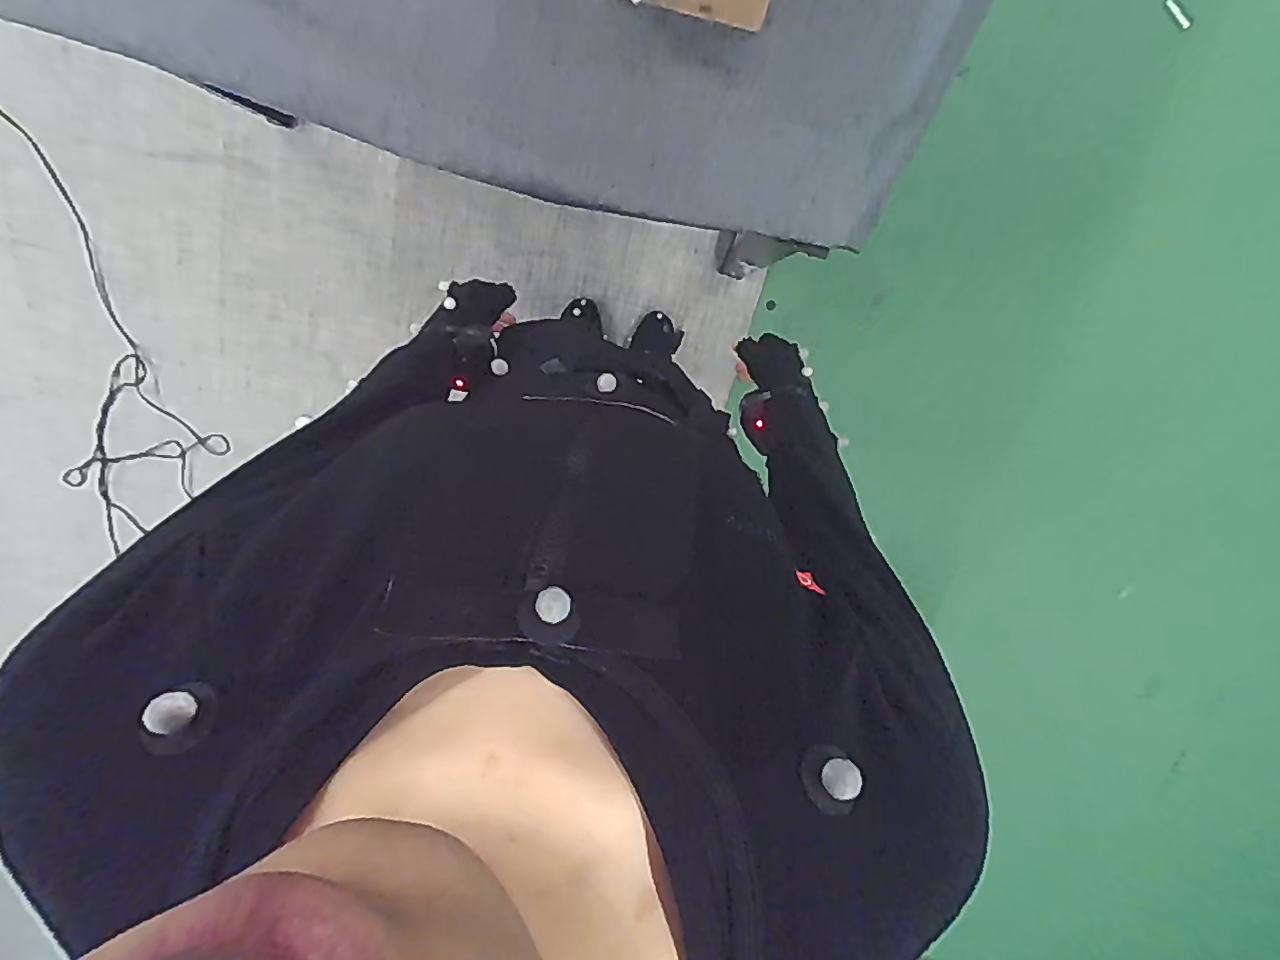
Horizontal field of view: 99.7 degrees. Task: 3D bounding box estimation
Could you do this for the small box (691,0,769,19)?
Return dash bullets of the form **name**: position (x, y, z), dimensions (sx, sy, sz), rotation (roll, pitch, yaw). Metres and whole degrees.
- **small box**: position (0.064, -0.551, 0.465), dimensions (0.168, 0.176, 0.179), rotation (13, 106, -2)
